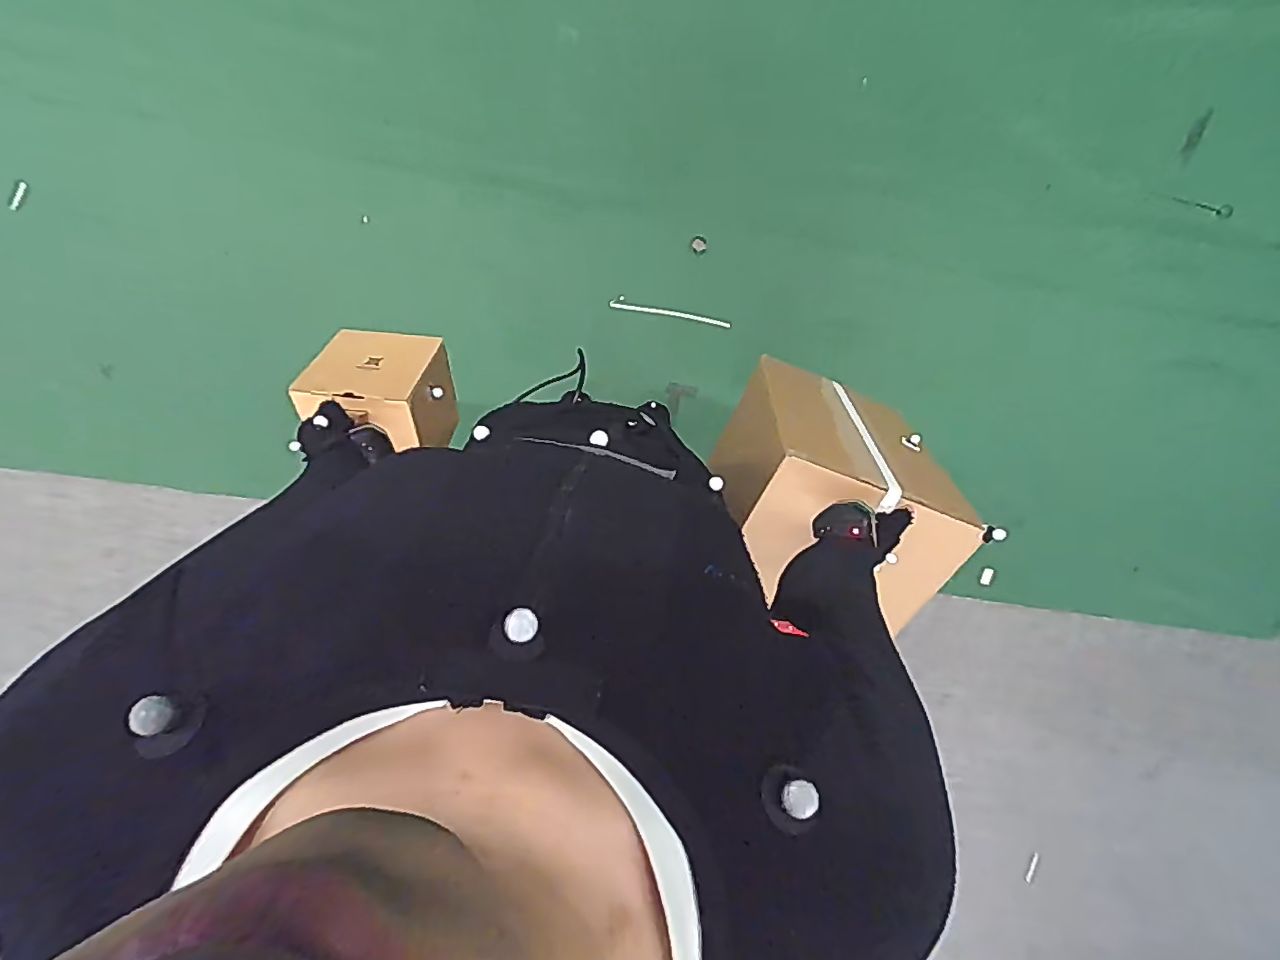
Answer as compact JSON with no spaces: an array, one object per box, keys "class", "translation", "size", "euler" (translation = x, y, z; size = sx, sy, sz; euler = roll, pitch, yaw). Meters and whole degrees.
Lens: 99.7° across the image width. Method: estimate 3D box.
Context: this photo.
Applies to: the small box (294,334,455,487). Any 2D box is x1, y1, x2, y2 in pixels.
[{"class":"small box","translation":[-0.409,-0.113,0.873],"size":[0.168,0.179,0.176],"euler":[4,134,-1]}]
